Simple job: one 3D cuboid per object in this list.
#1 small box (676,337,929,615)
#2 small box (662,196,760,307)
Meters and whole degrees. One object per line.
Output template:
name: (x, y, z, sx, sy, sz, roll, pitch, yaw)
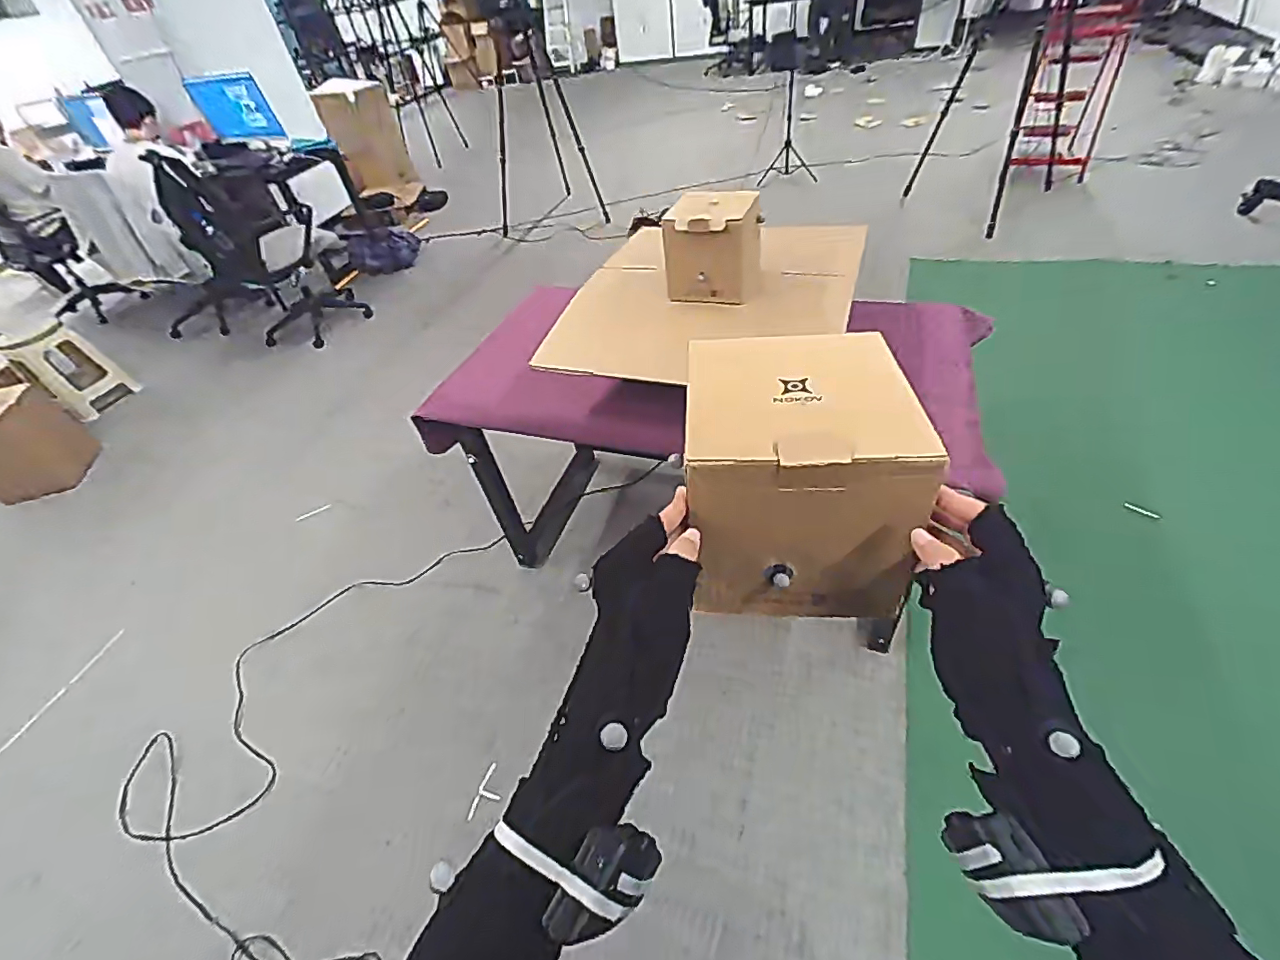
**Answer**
small box: (0.117, -0.007, 0.469, 0.168, 0.176, 0.179, -1, 41, 6)
small box: (0.156, -0.494, 1.165, 0.168, 0.176, 0.179, 9, 47, 20)
